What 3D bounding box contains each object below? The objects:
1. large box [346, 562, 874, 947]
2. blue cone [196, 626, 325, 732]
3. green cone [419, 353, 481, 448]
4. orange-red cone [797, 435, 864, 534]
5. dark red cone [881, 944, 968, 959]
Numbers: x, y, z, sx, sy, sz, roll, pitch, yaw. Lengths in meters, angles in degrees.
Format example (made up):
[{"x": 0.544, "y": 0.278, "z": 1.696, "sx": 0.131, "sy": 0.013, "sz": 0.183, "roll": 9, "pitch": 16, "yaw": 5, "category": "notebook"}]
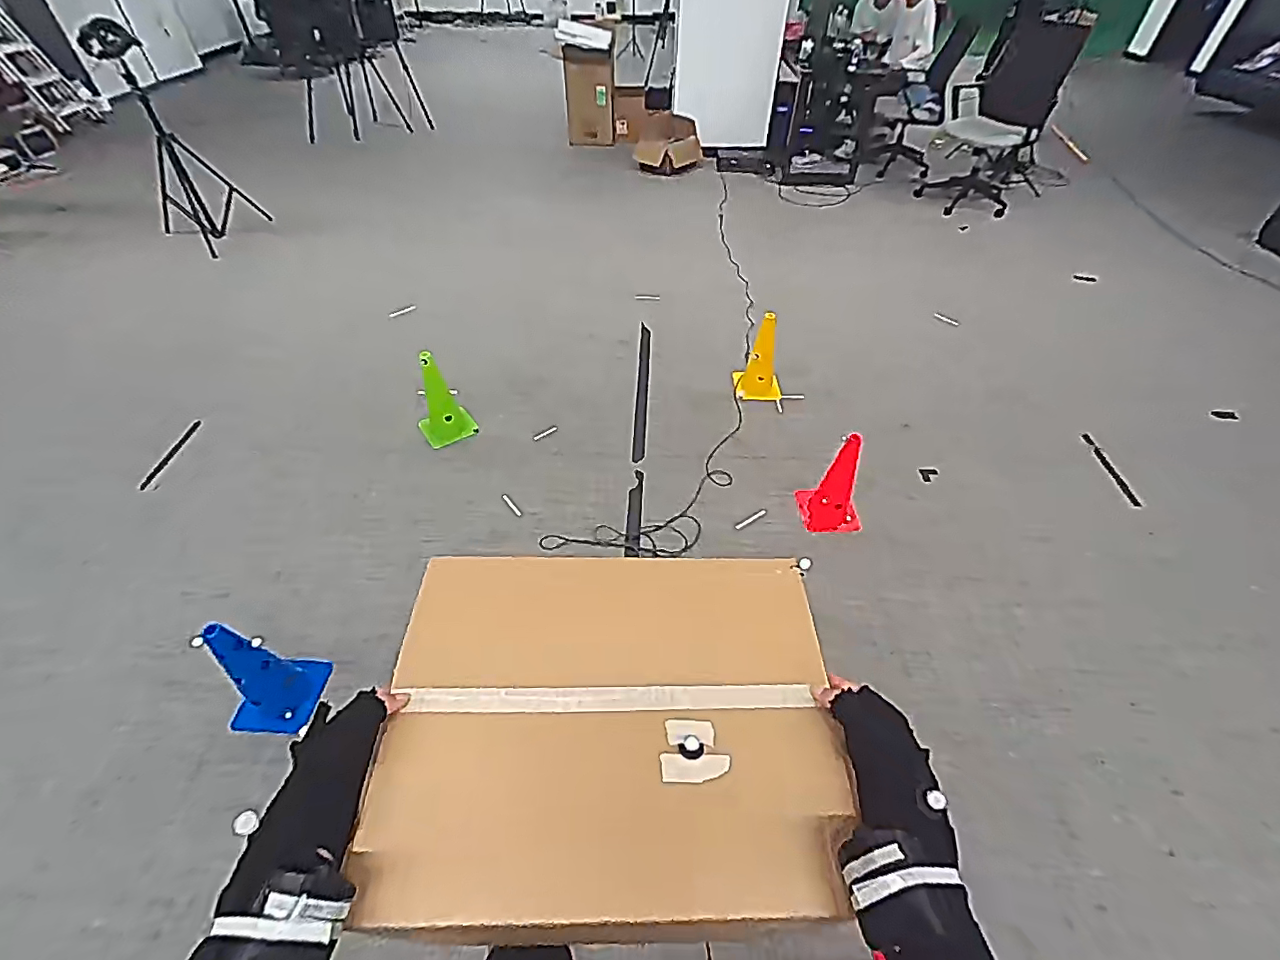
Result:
[{"x": -0.030, "y": 0.306, "z": 0.608, "sx": 0.408, "sy": 0.320, "sz": 0.320, "roll": 1, "pitch": 47, "yaw": -3, "category": "large box"}, {"x": -0.980, "y": 0.476, "z": 1.362, "sx": 0.192, "sy": 0.380, "sz": 0.193, "roll": 3, "pitch": 46, "yaw": 4, "category": "blue cone"}, {"x": -0.791, "y": -0.338, "z": 2.125, "sx": 0.202, "sy": 0.368, "sz": 0.200, "roll": -28, "pitch": 52, "yaw": -23, "category": "green cone"}, {"x": 0.680, "y": -0.006, "z": 1.823, "sx": 0.198, "sy": 0.360, "sz": 0.199, "roll": 1, "pitch": 45, "yaw": -1, "category": "orange-red cone"}, {"x": 0.567, "y": 0.910, "z": 0.907, "sx": 0.201, "sy": 0.394, "sz": 0.202, "roll": 5, "pitch": 46, "yaw": 6, "category": "dark red cone"}]
